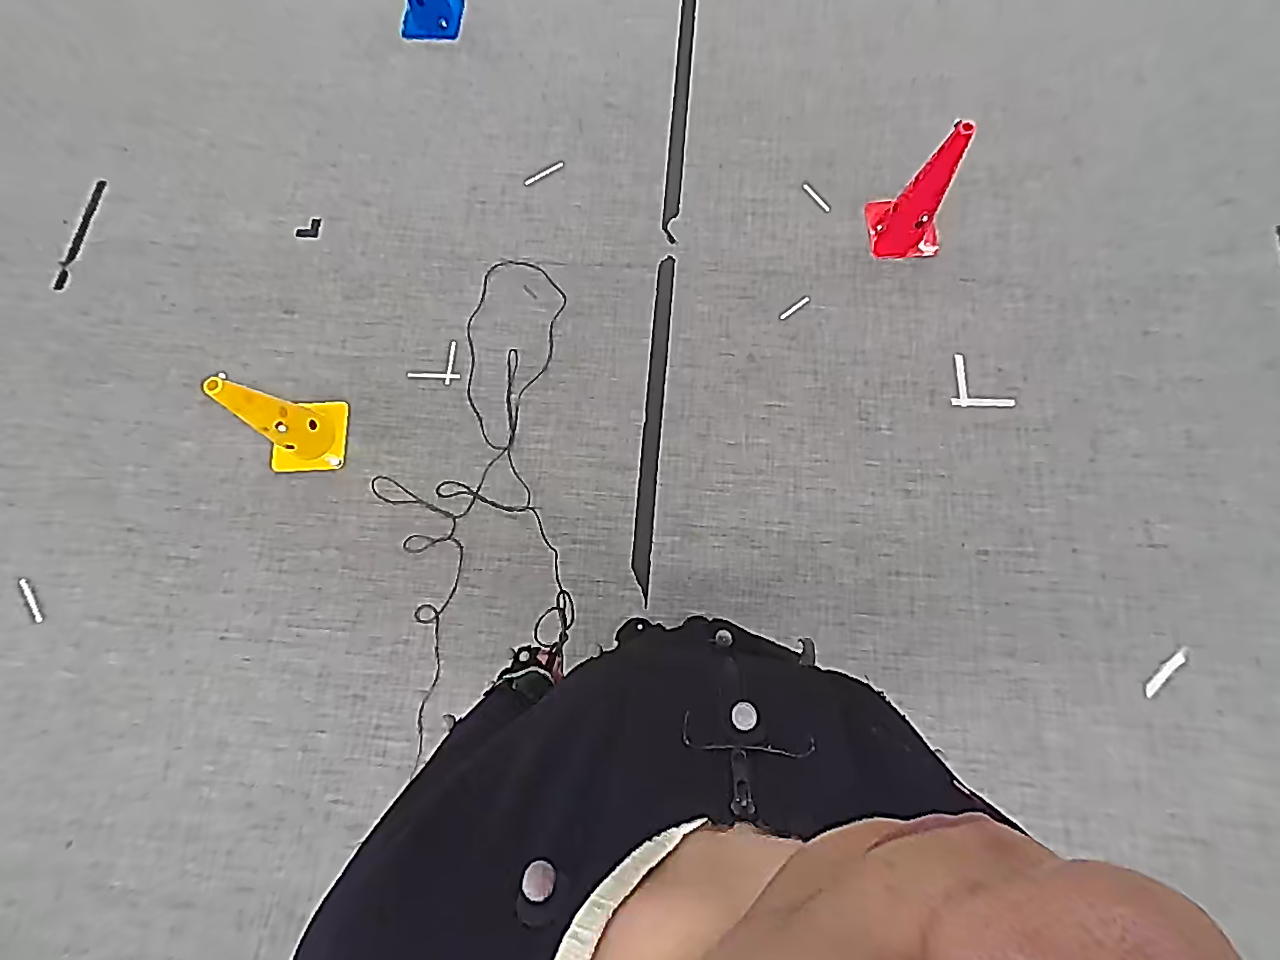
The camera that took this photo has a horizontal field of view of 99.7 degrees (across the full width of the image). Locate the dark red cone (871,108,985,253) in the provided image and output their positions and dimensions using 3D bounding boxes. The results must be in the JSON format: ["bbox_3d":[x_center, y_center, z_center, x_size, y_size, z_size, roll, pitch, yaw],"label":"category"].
[{"bbox_3d":[0.786,-0.802,1.436,0.201,0.394,0.202,-4,76,1],"label":"dark red cone"}]

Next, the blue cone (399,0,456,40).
[{"bbox_3d":[-0.741,-1.635,1.709,0.192,0.380,0.193,4,76,3],"label":"blue cone"}]
